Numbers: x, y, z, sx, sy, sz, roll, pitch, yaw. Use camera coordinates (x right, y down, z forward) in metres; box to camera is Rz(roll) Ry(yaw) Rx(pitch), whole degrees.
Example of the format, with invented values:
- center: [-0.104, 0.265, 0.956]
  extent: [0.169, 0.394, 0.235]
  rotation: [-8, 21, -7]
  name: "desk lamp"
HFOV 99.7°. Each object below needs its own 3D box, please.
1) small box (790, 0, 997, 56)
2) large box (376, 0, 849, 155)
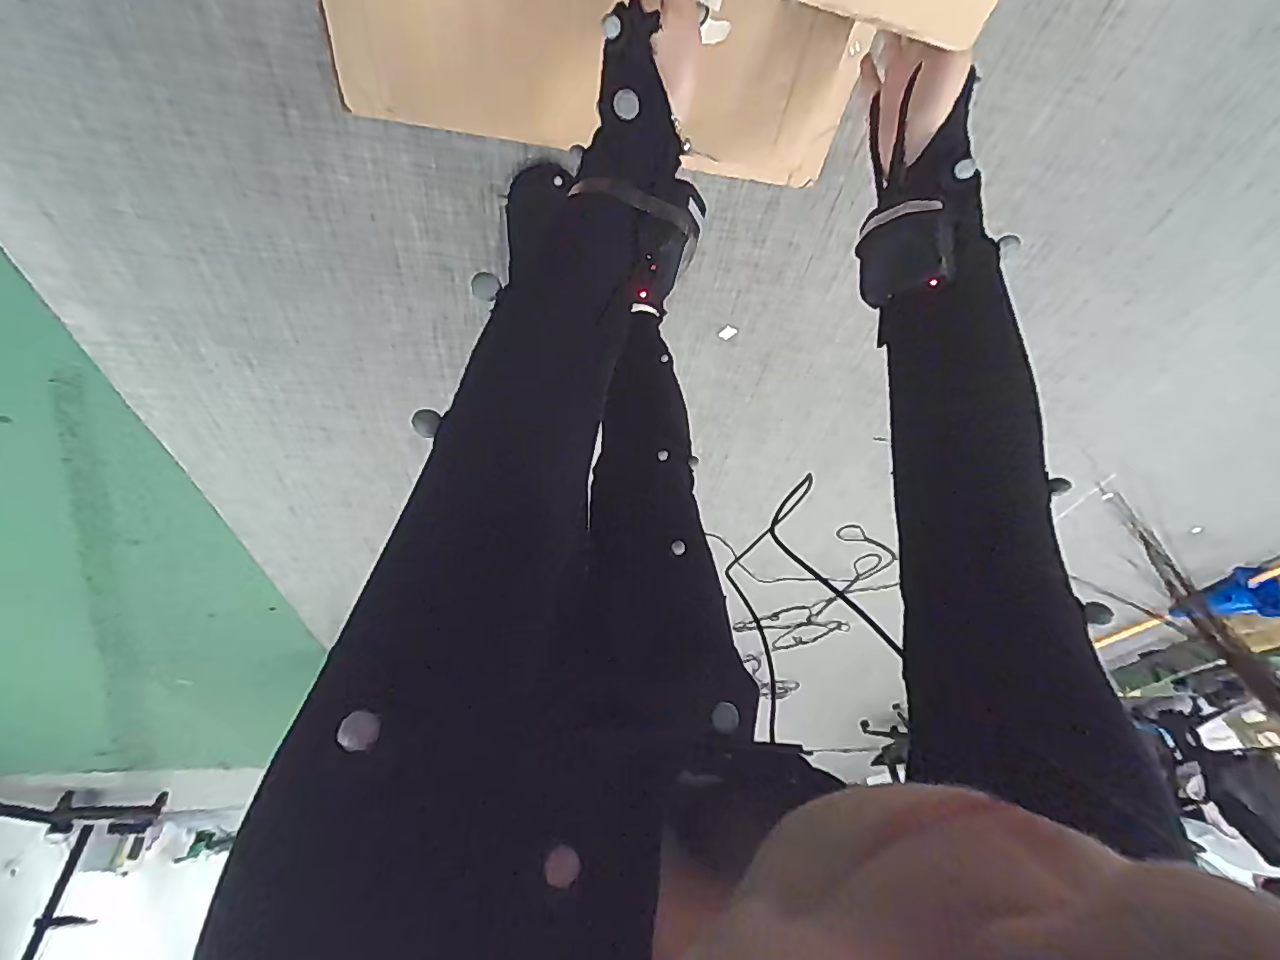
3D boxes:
- center: [0.137, -0.390, 0.314]
  extent: [0.179, 0.176, 0.168]
  rotation: [7, 140, -13]
  name: "small box"
- center: [-0.022, -0.544, 0.498]
  extent: [0.408, 0.320, 0.320]
  rotation: [1, 142, -9]
  name: "large box"
